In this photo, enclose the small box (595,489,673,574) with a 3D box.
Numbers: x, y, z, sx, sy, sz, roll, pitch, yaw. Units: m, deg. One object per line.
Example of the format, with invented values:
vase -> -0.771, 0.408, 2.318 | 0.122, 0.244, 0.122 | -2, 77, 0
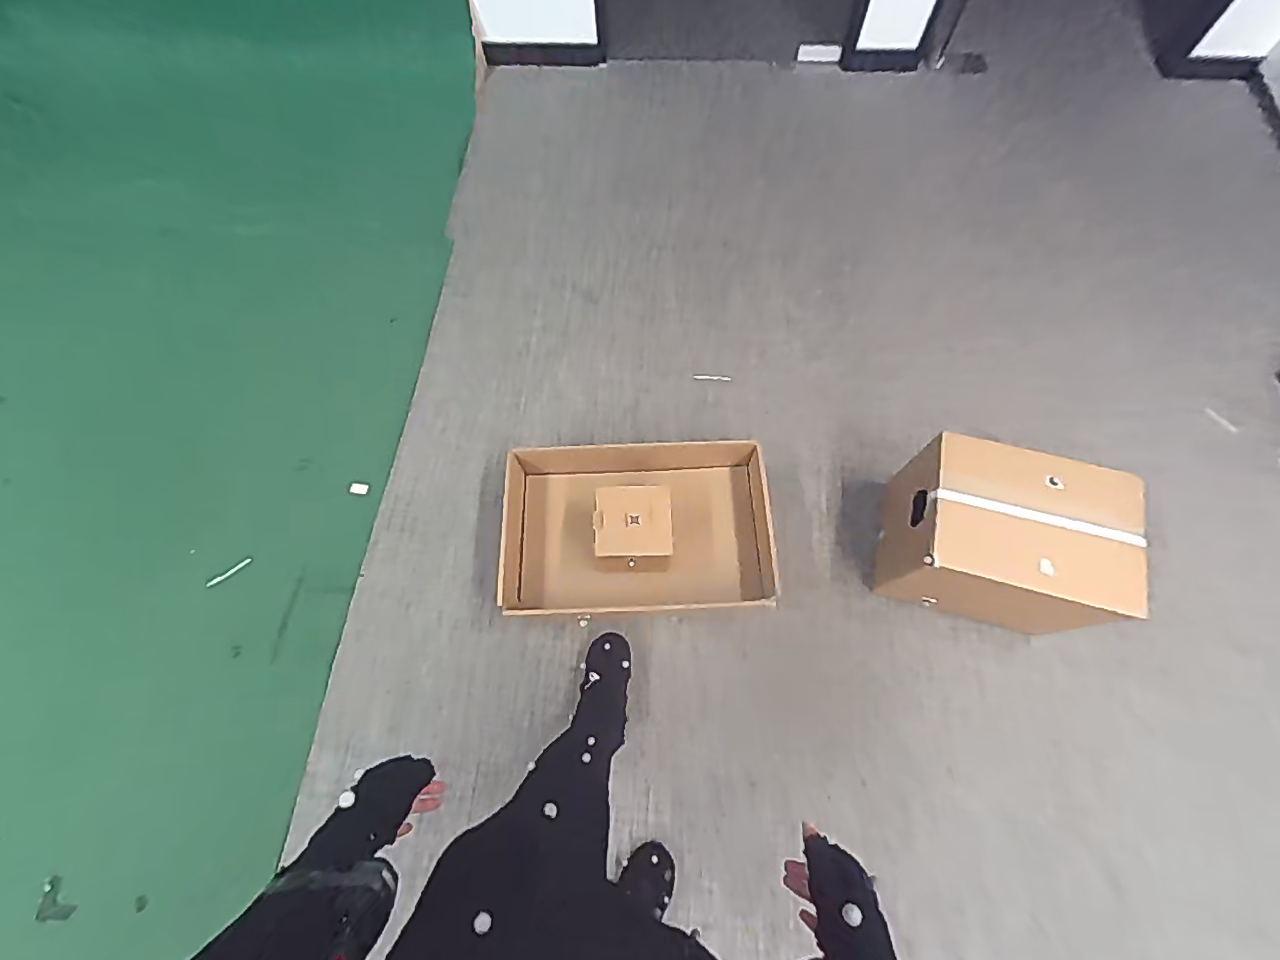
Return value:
small box -> -0.012, 0.128, 1.294 | 0.179, 0.176, 0.168 | -1, 68, -1
